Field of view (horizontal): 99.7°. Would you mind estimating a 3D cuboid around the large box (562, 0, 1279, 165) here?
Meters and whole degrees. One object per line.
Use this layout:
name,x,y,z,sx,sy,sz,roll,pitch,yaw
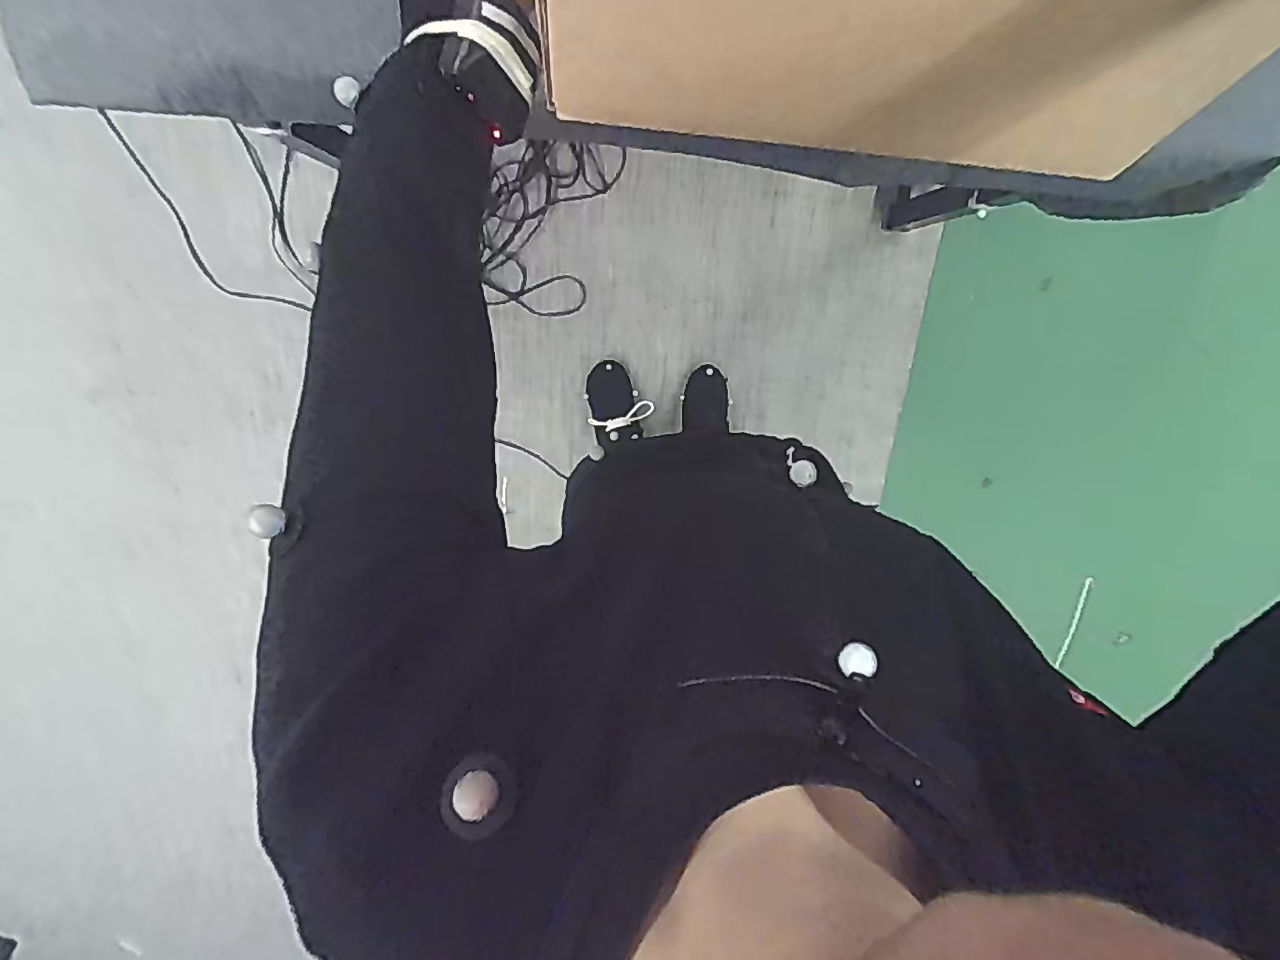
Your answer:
large box,0.162,-0.412,0.275,0.408,0.320,0.320,1,76,-5
